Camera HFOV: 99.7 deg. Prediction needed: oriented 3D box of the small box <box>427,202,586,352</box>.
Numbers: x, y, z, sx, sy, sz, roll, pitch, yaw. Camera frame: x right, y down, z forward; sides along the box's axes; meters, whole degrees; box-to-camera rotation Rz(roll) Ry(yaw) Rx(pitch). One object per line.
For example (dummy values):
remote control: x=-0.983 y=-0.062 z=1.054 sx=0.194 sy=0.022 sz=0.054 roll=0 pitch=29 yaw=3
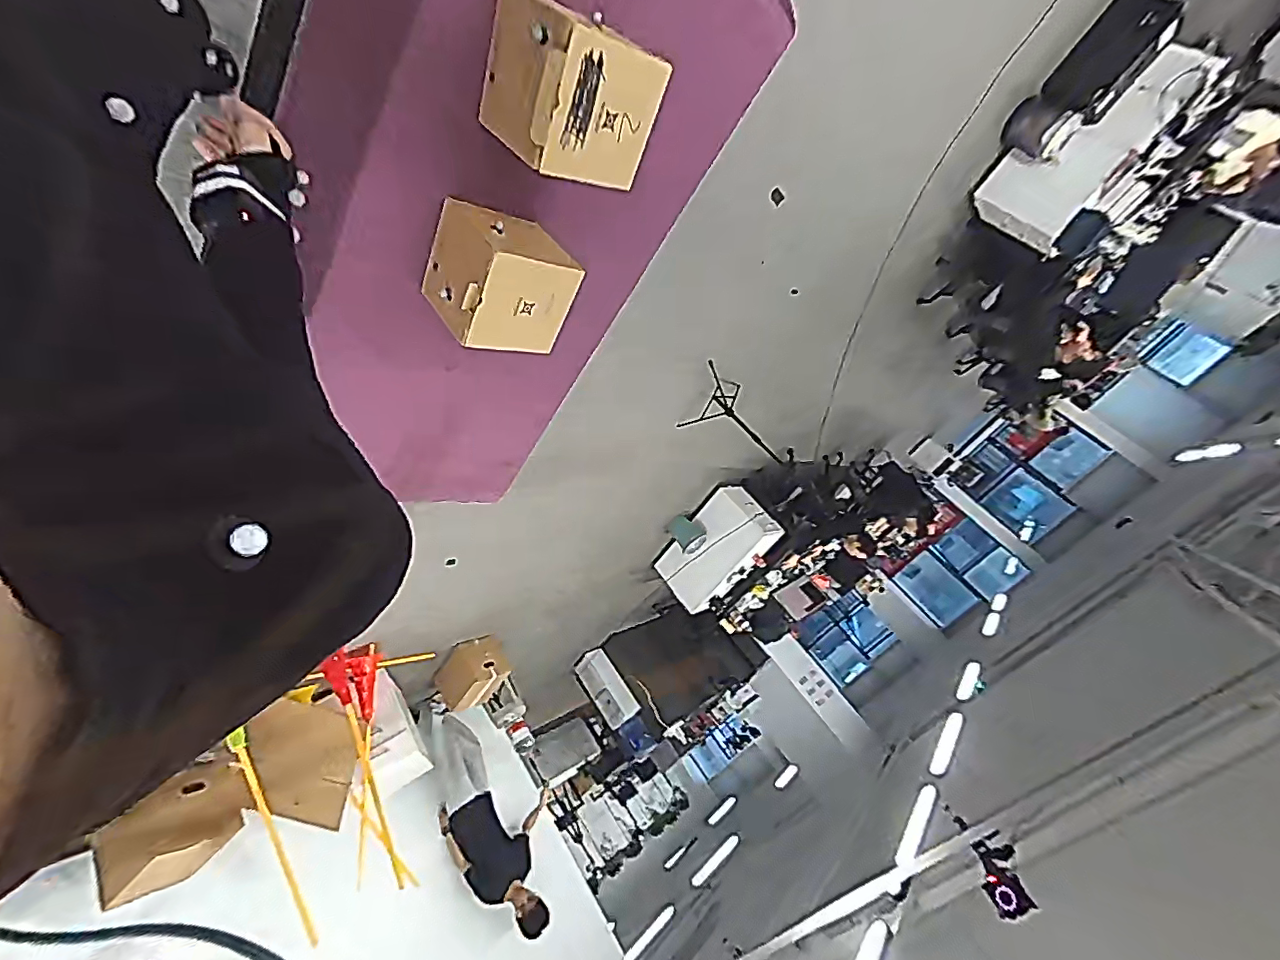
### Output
small box: x=-0.230 y=-0.337 z=0.909 sx=0.179 sy=0.176 sz=0.168 roll=-10 pitch=142 yaw=-48
